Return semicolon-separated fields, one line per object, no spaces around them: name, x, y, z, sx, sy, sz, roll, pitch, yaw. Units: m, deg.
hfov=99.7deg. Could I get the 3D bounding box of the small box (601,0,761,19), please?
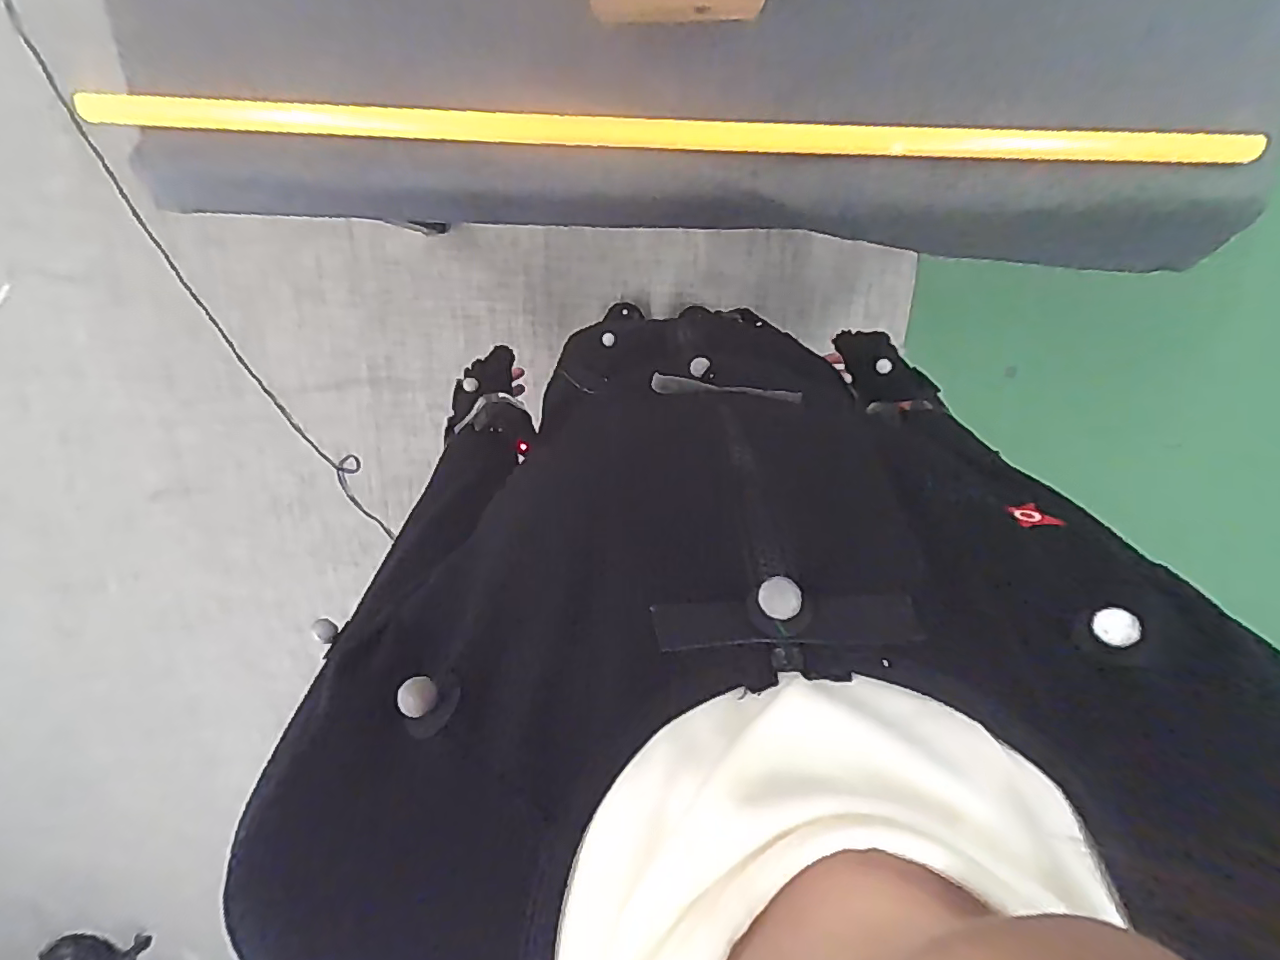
small box;0.037;-0.519;0.436;0.168;0.176;0.179;-1;108;1
